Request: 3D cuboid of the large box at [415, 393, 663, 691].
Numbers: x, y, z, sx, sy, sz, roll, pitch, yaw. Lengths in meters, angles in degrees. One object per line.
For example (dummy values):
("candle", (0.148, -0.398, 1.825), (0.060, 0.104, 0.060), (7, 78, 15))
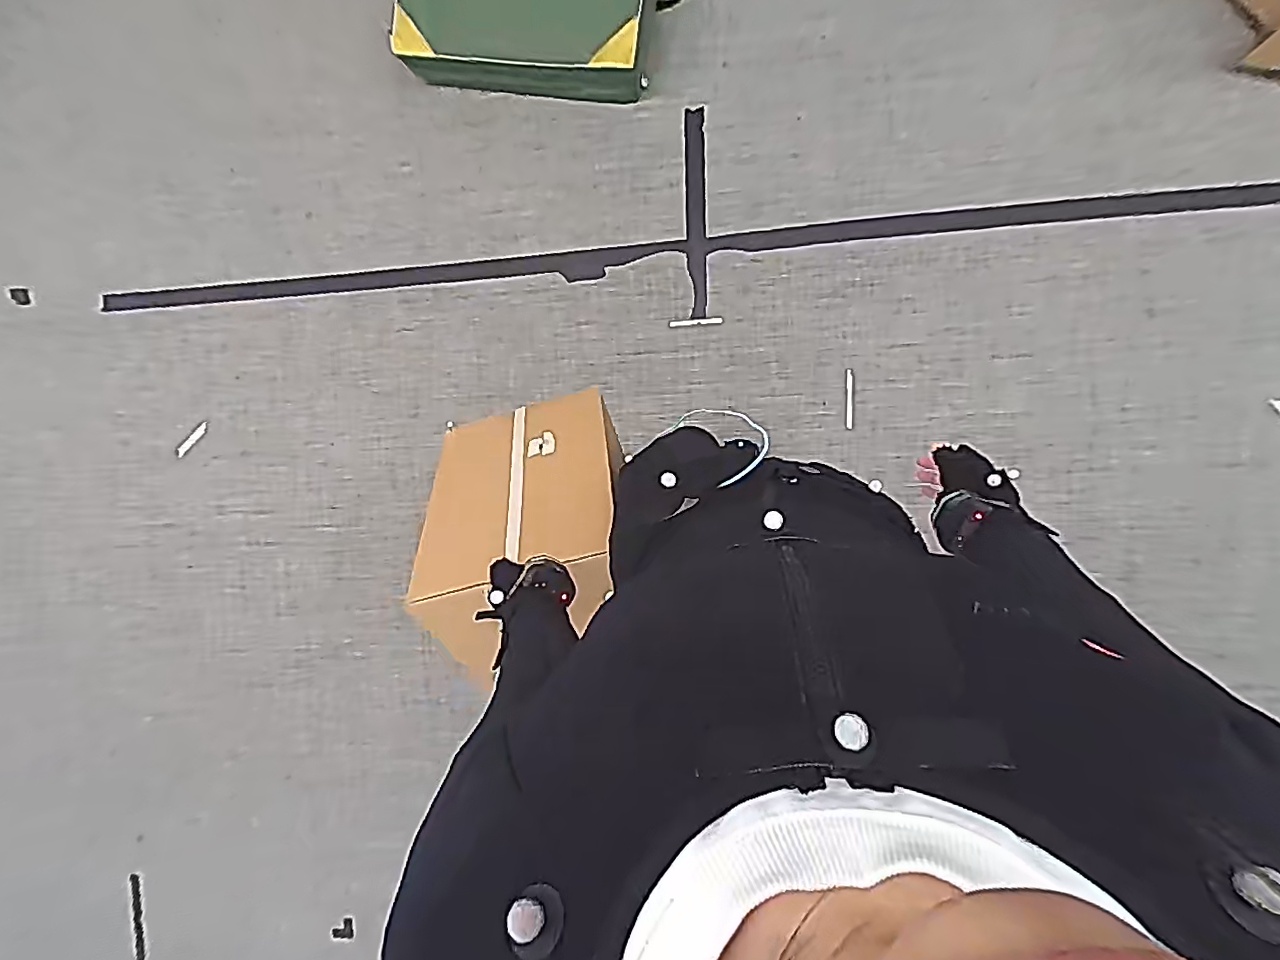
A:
("large box", (-0.165, 0.108, 1.004), (0.320, 0.408, 0.320), (-15, 132, 5))
